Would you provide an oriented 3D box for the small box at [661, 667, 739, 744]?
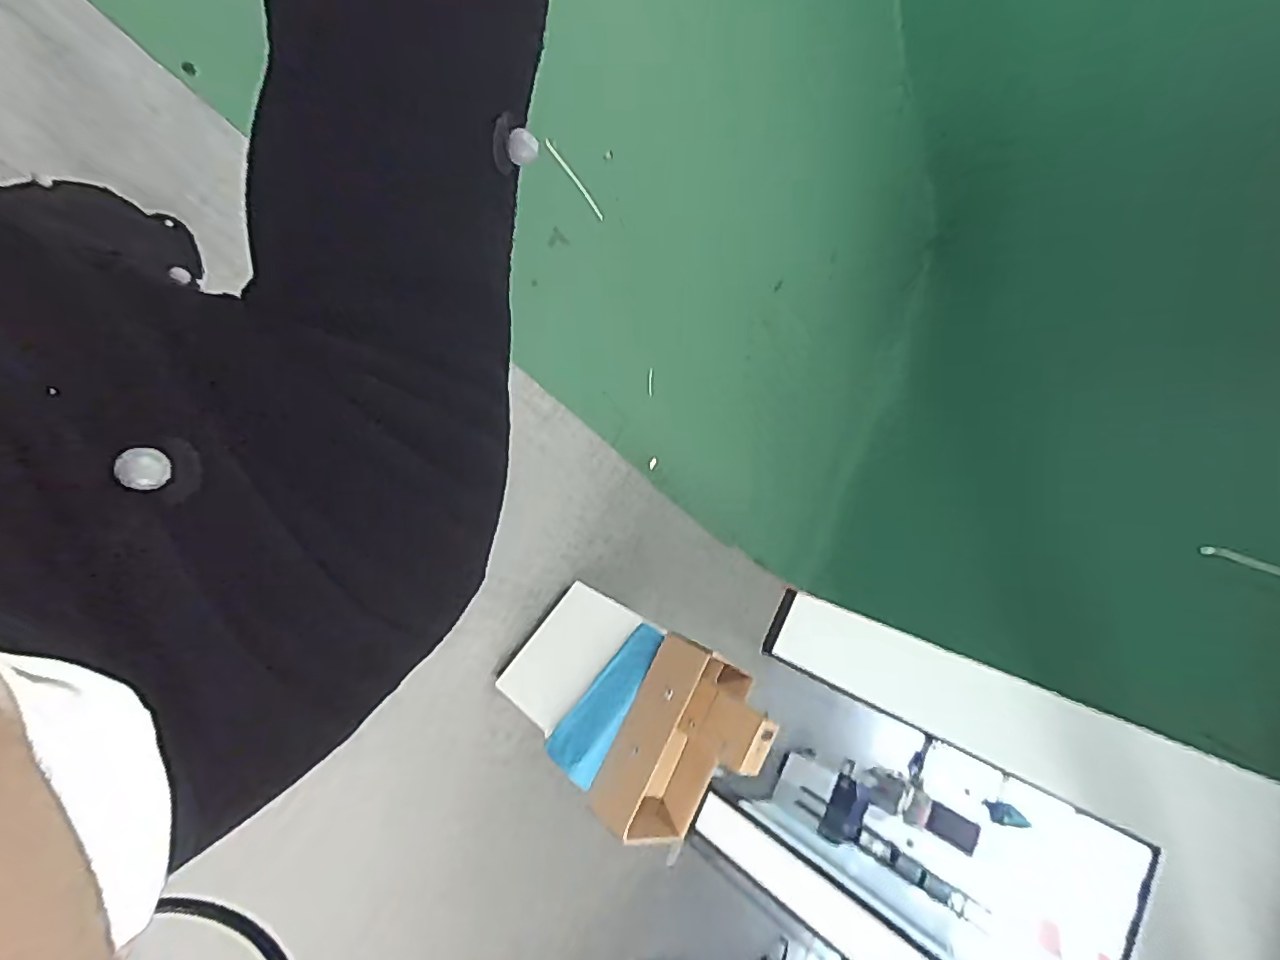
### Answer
[{"bbox_3d":[0.201,0.762,1.837,0.168,0.176,0.179,40,76,-47],"label":"small box"}]
